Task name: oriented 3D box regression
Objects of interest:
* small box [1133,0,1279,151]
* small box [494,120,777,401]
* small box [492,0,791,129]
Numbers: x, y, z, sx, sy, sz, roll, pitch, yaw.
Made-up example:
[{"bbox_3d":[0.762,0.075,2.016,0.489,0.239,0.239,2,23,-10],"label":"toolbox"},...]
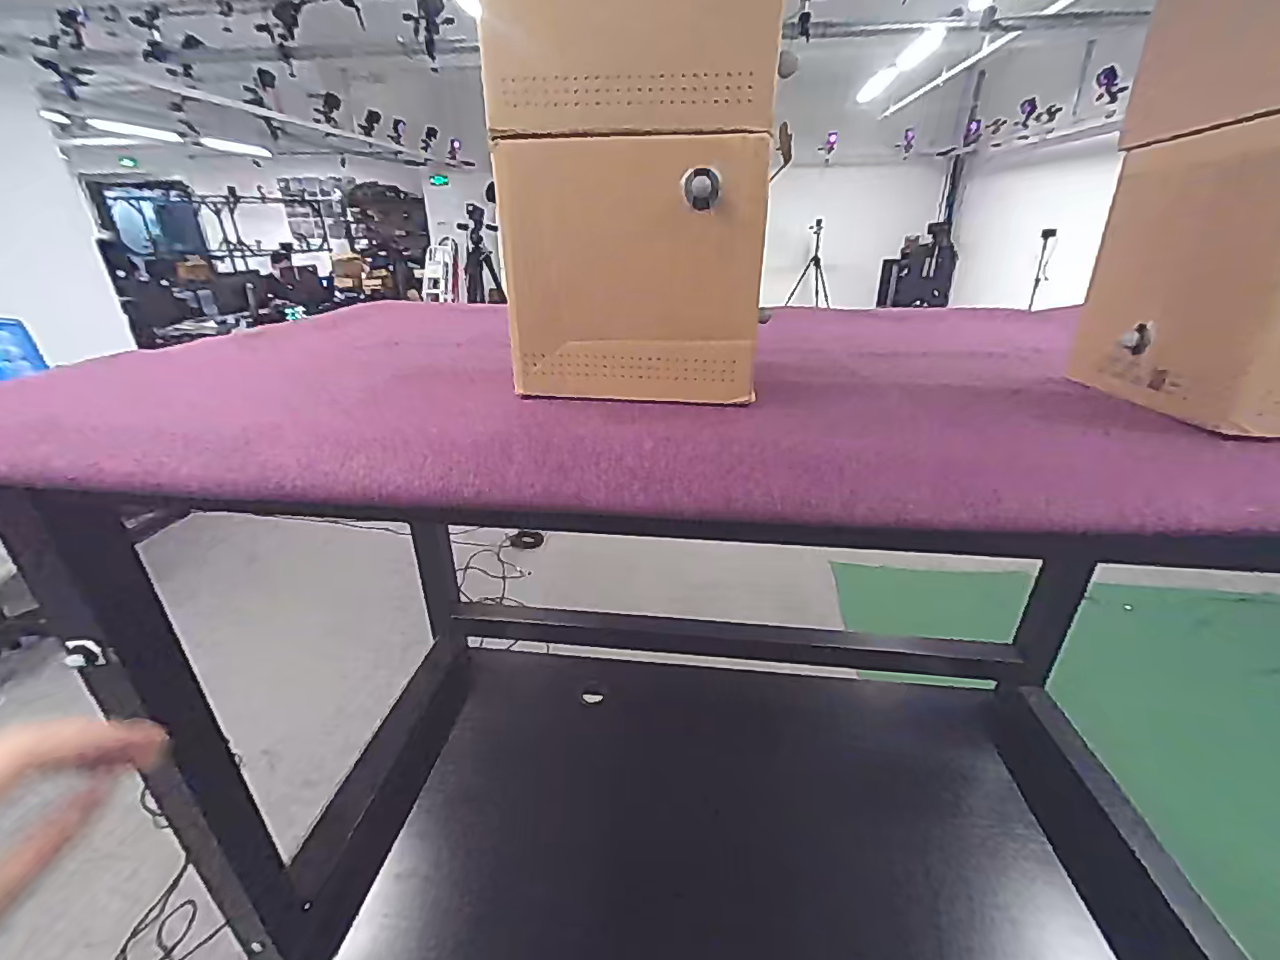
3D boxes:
[{"bbox_3d":[0.416,-0.281,0.273,0.168,0.176,0.179,2,23,8],"label":"small box"},{"bbox_3d":[0.006,-0.163,0.424,0.179,0.176,0.168,4,24,7],"label":"small box"},{"bbox_3d":[0.008,-0.315,0.361,0.179,0.176,0.168,5,25,7],"label":"small box"}]
